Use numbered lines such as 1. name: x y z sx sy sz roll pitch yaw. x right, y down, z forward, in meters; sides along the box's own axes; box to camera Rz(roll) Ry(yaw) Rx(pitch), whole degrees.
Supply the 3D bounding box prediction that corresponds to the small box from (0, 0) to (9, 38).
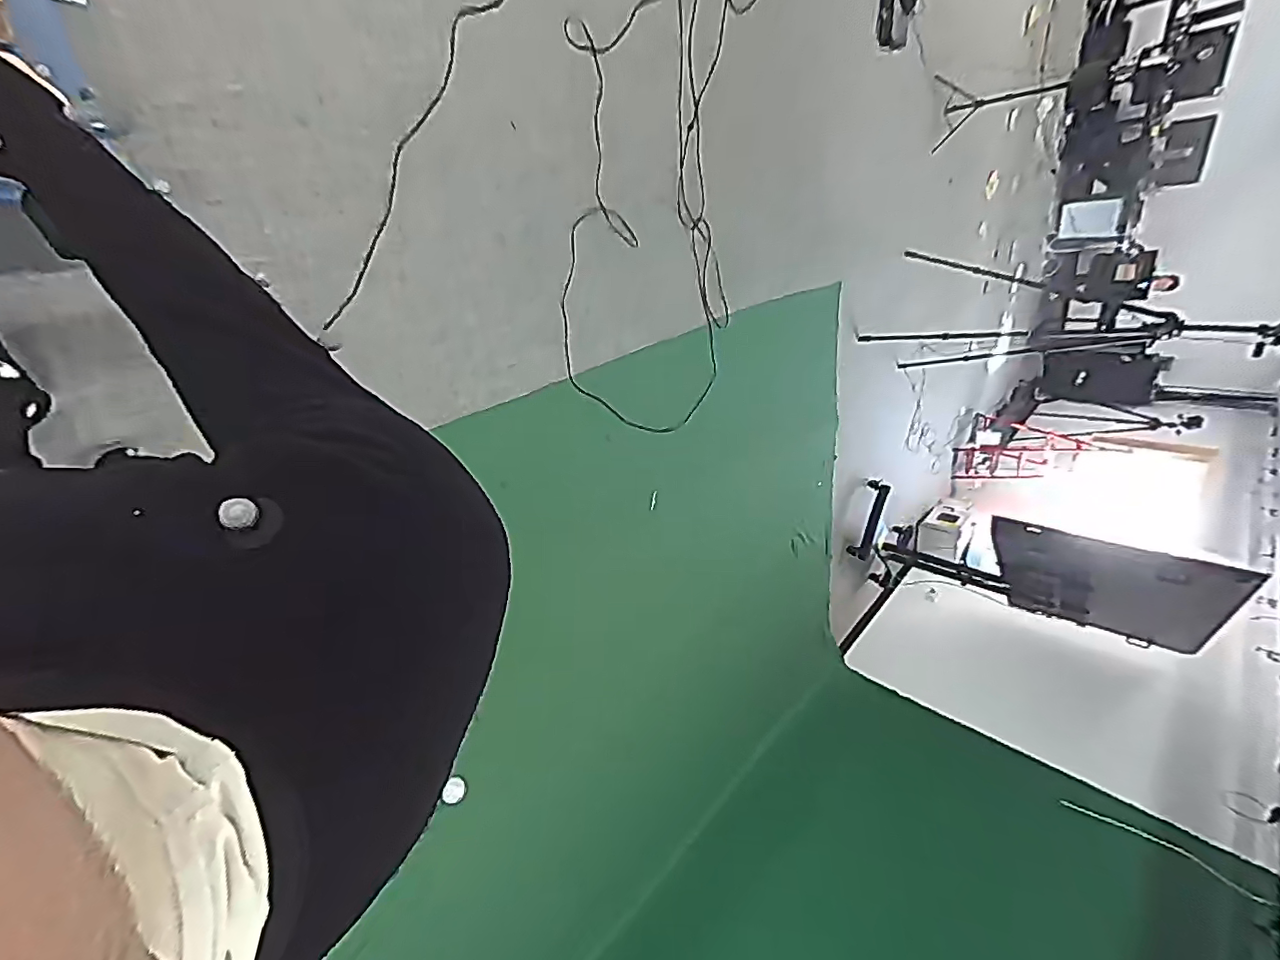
1. small box: -0.992 -0.726 0.710 0.168 0.176 0.179 -26 121 -39
